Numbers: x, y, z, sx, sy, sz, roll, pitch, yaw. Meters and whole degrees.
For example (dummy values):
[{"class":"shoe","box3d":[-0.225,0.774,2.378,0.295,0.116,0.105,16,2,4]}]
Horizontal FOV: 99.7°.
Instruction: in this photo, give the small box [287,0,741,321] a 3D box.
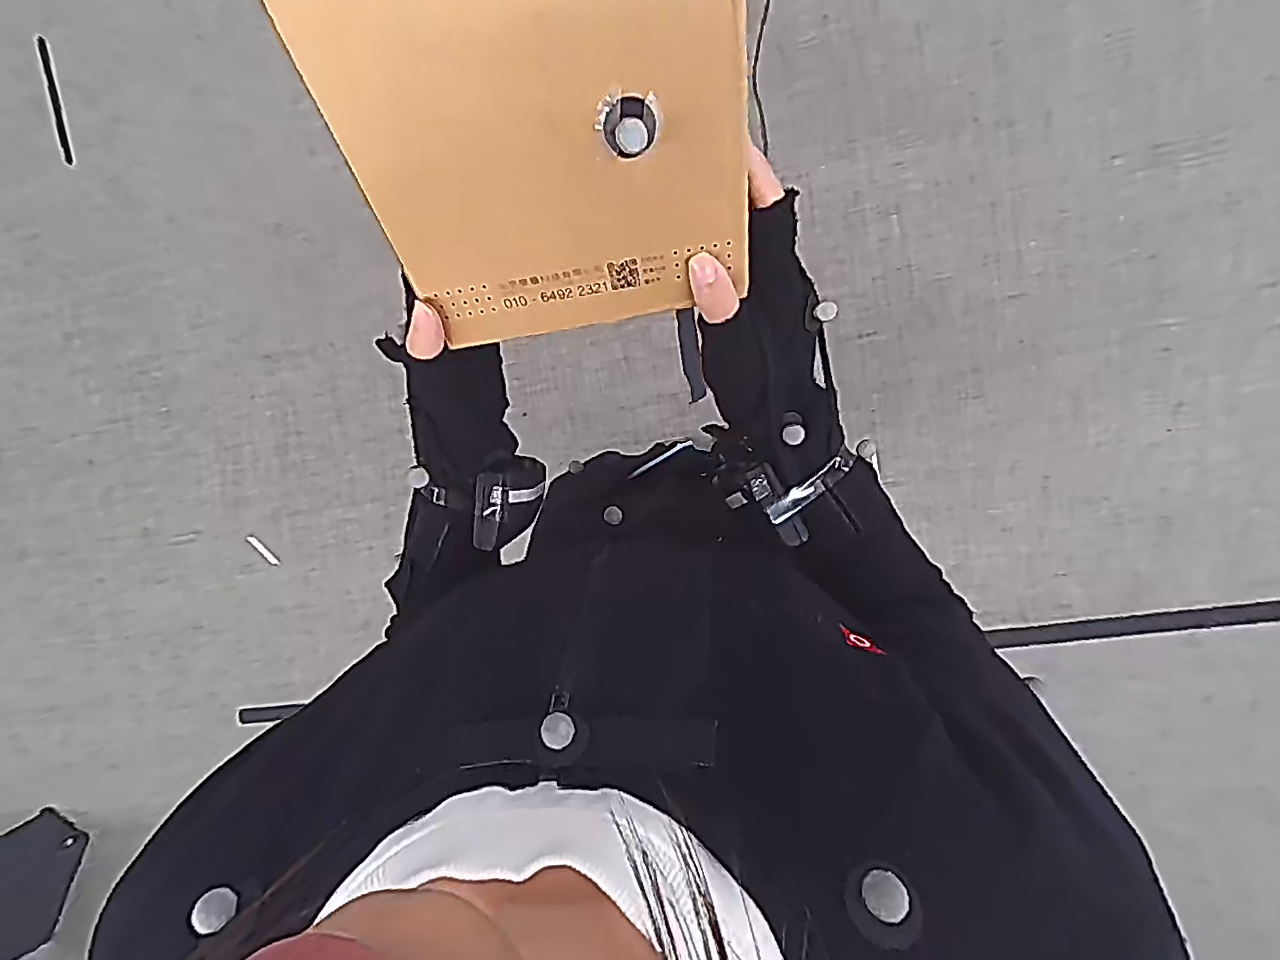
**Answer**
[{"class":"small box","box3d":[-0.039,-0.204,0.297,0.168,0.176,0.179,-7,50,6]}]
